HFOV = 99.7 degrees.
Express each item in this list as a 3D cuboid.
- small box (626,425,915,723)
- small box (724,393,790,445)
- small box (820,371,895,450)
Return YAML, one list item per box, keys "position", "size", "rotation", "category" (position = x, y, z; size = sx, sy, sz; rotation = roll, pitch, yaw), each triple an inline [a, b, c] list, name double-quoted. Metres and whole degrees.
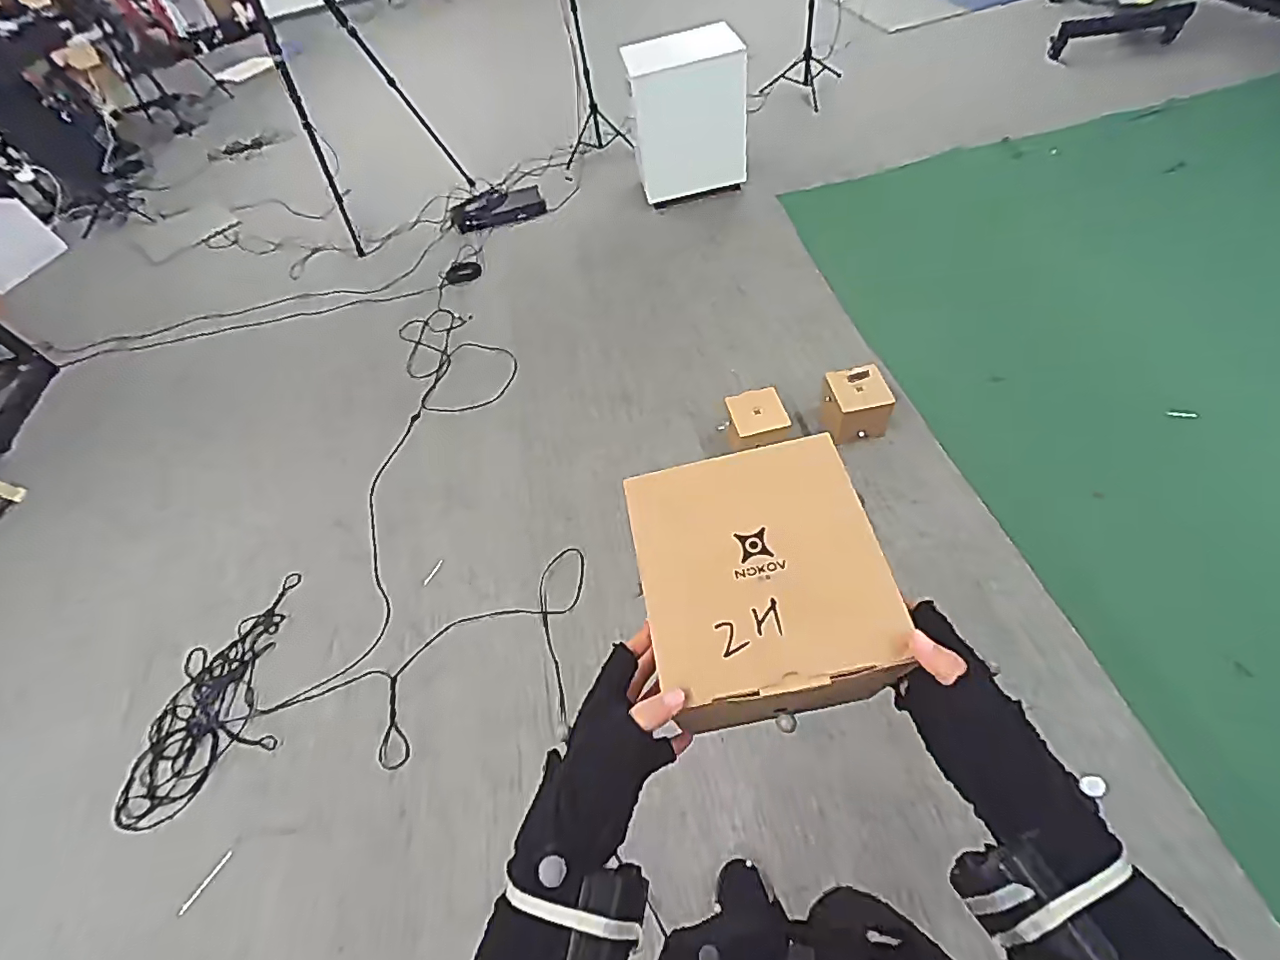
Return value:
- position: [0.092, 0.086, 0.451]
  size: [0.168, 0.176, 0.179]
  rotation: [-13, 58, 3]
  category: "small box"
- position: [0.382, -0.151, 1.770]
  size: [0.168, 0.176, 0.179]
  rotation: [-14, 52, 0]
  category: "small box"
- position: [0.699, -0.225, 1.763]
  size: [0.168, 0.176, 0.179]
  rotation: [-11, 54, 3]
  category: "small box"
